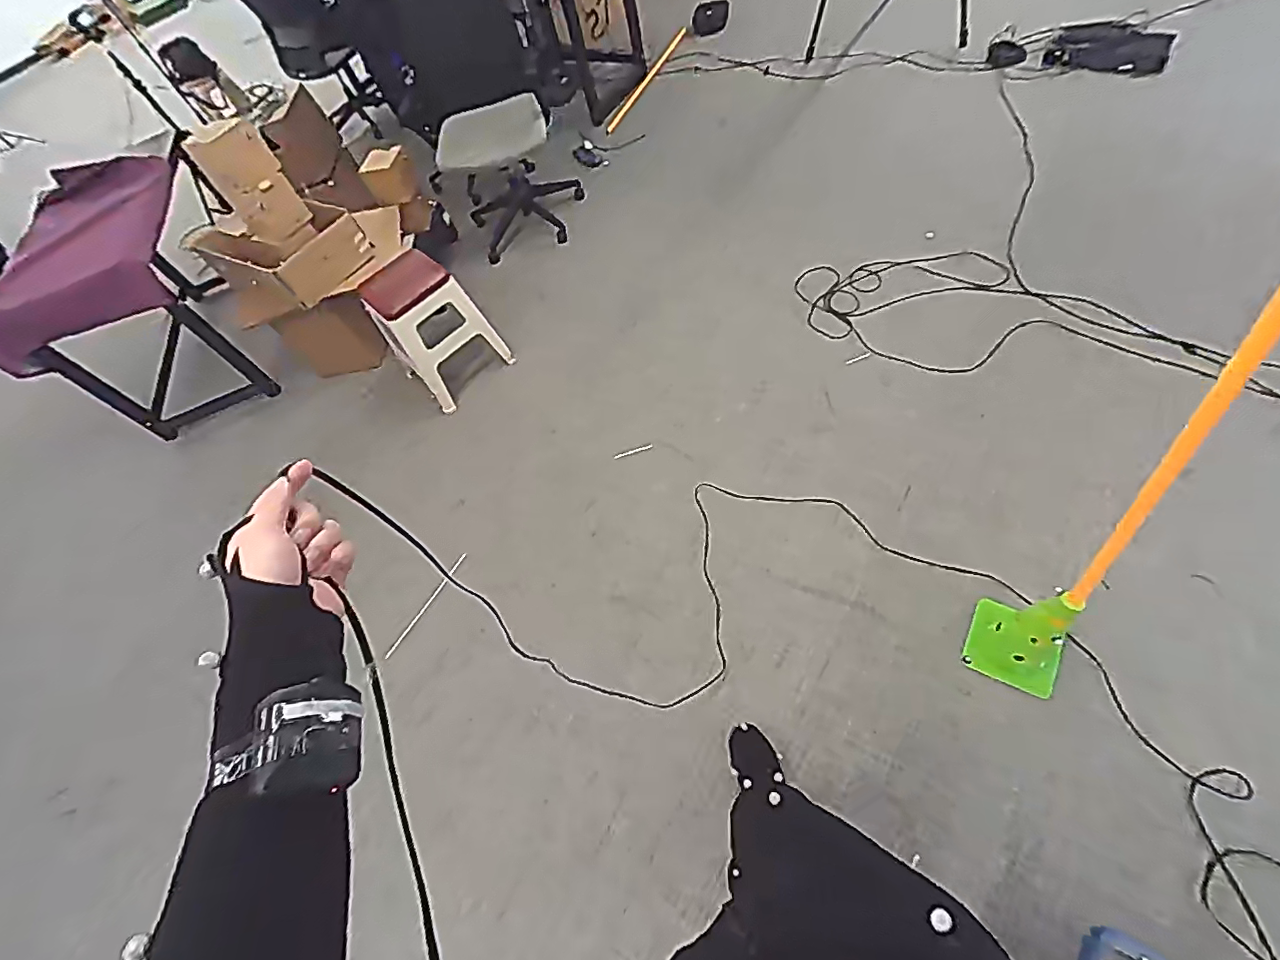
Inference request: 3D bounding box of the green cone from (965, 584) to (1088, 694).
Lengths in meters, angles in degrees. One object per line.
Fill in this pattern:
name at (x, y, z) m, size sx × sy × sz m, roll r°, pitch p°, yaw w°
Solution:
green cone at (0.922, 0.327, 1.237) m, size 0.200 × 0.368 × 0.202 m, roll 21°, pitch 65°, yaw 24°
